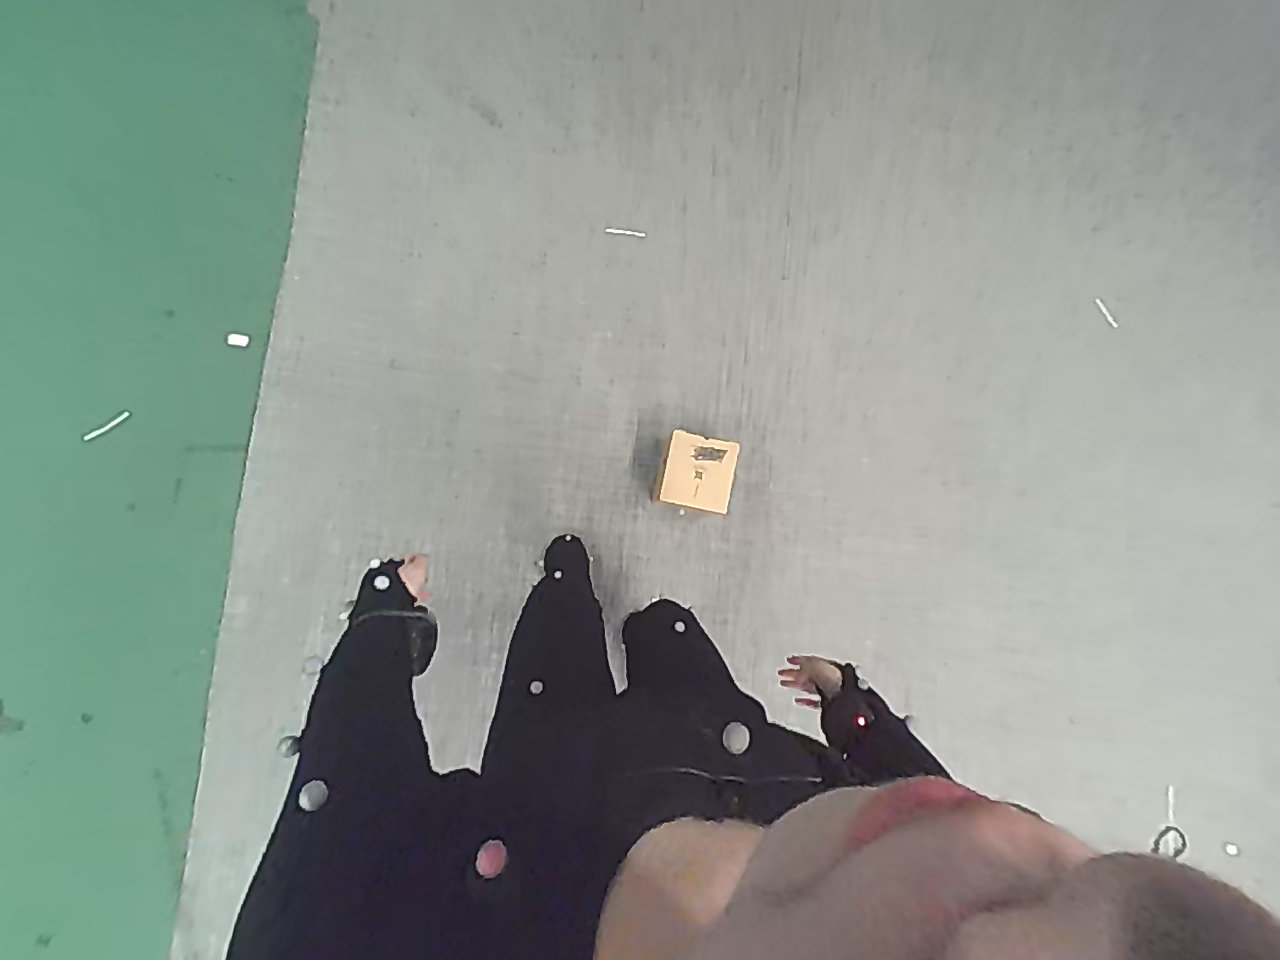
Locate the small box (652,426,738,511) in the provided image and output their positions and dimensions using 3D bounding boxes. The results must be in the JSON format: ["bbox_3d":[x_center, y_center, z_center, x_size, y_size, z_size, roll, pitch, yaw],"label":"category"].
[{"bbox_3d":[0.131,-0.023,1.358,0.168,0.176,0.179,12,86,-4],"label":"small box"}]
